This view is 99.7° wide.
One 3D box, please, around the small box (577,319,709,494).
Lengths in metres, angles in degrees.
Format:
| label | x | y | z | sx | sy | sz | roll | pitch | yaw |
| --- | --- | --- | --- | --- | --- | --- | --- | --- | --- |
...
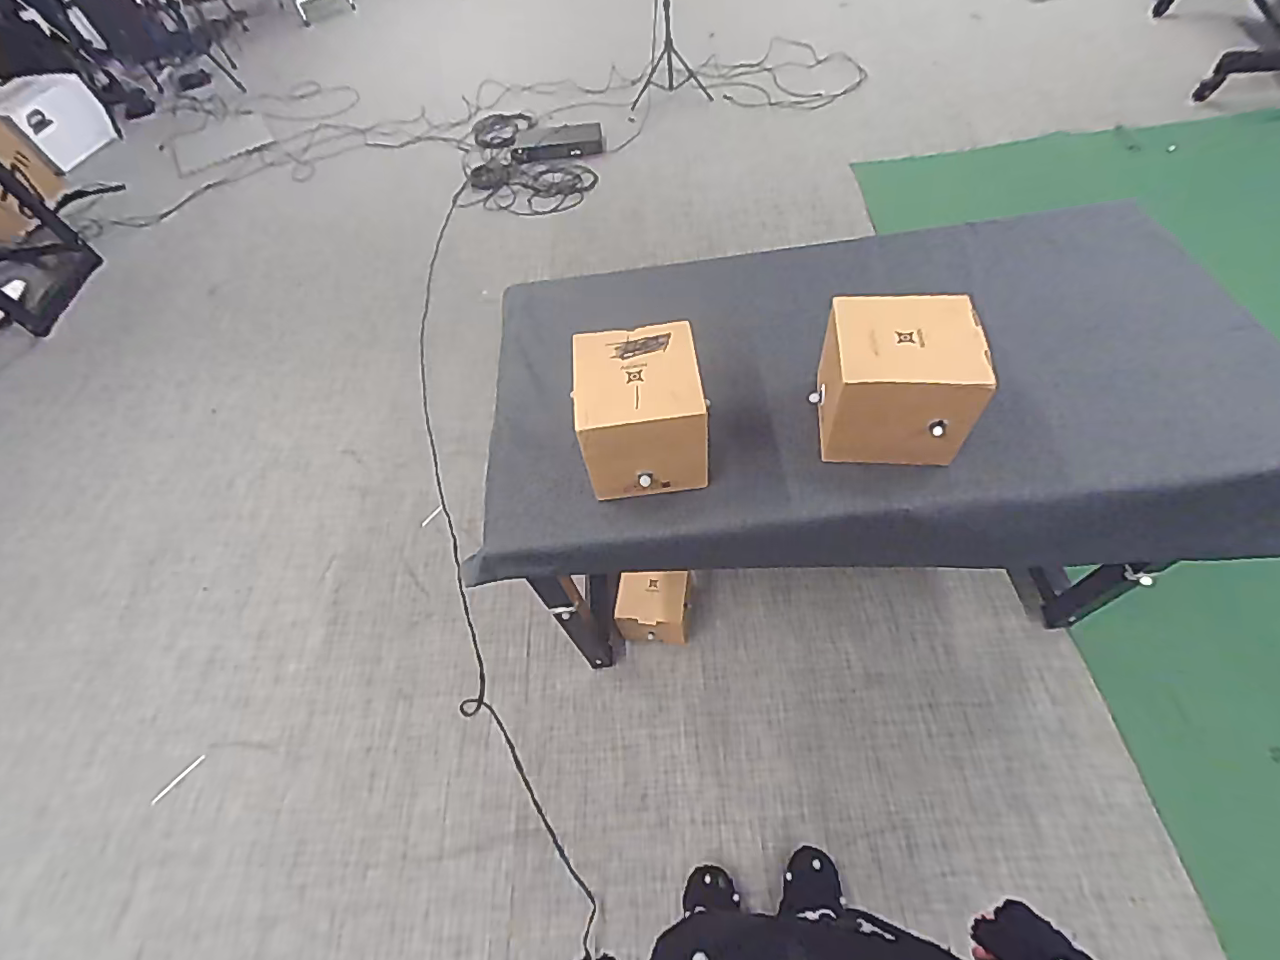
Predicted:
| label | x | y | z | sx | sy | sz | roll | pitch | yaw |
| --- | --- | --- | --- | --- | --- | --- | --- | --- | --- |
| small box | 0.004 | -0.102 | 0.776 | 0.168 | 0.176 | 0.179 | -7 | 56 | 2 |

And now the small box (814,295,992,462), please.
| label | x | y | z | sx | sy | sz | roll | pitch | yaw |
| --- | --- | --- | --- | --- | --- | --- | --- | --- | --- |
| small box | 0.352 | -0.138 | 0.762 | 0.179 | 0.176 | 0.168 | 2 | 56 | 9 |
